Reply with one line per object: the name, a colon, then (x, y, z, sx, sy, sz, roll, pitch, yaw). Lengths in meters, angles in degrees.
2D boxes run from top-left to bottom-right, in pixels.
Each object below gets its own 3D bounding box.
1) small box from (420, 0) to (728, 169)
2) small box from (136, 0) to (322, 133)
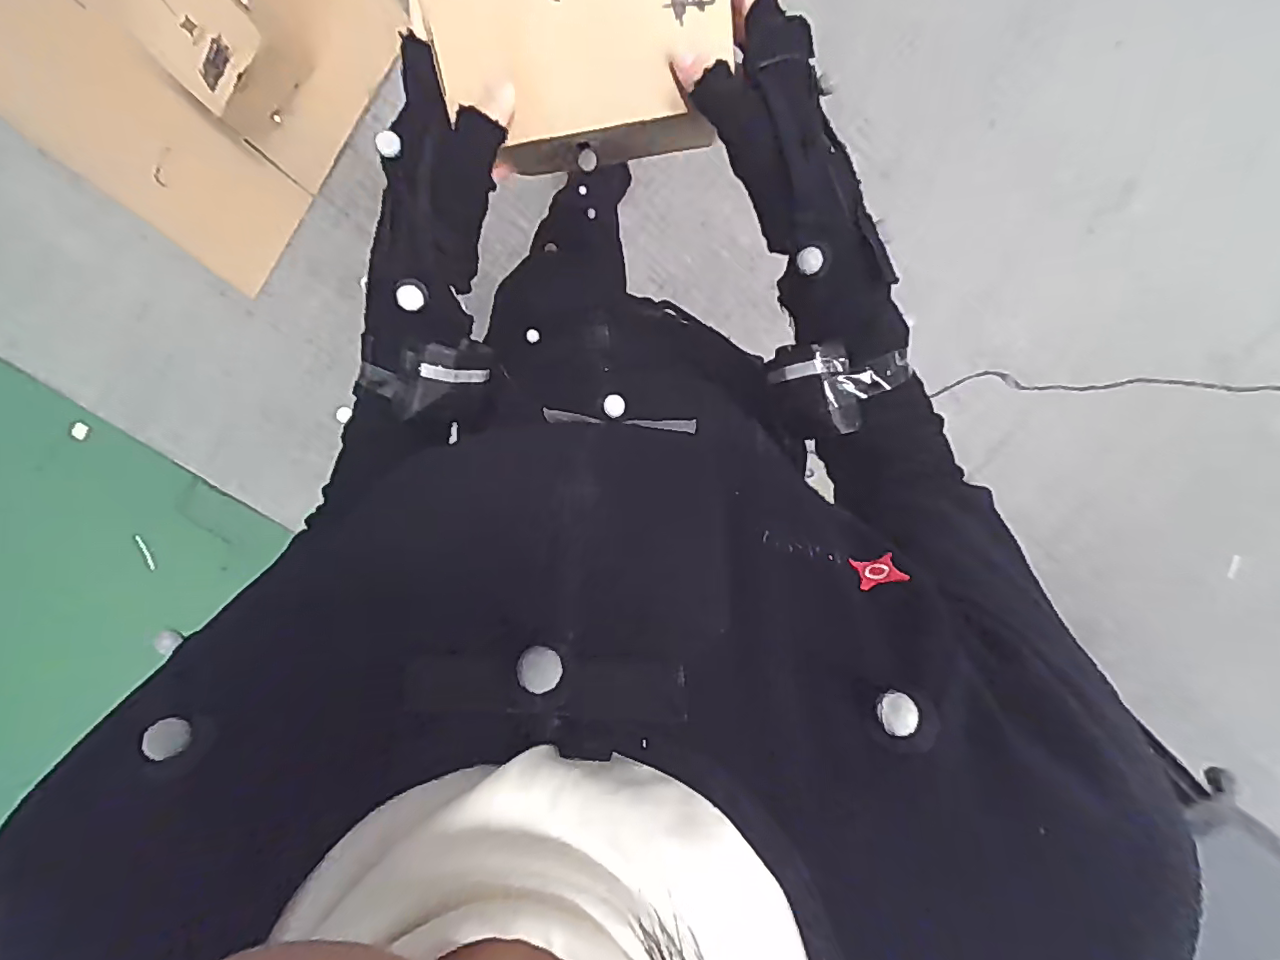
small box: (-0.039, -0.332, 0.371, 0.179, 0.176, 0.168, -9, 111, 8)
small box: (-0.728, -0.765, 0.981, 0.168, 0.176, 0.179, -39, 109, 17)
